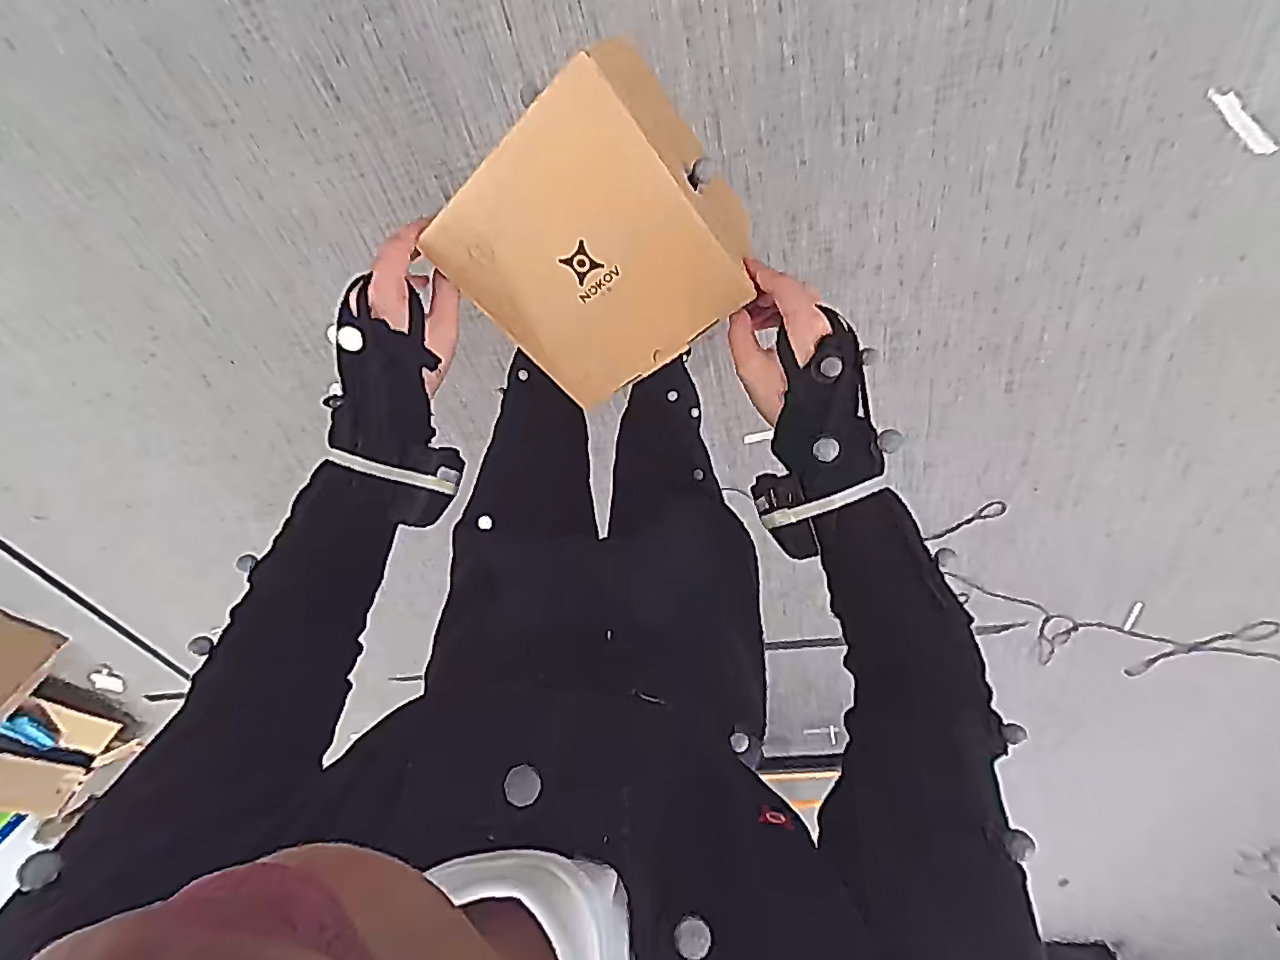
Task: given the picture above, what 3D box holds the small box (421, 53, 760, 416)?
[{"bbox_3d":[-0.026,-0.191,0.425,0.168,0.176,0.179,-29,123,29],"label":"small box"}]
